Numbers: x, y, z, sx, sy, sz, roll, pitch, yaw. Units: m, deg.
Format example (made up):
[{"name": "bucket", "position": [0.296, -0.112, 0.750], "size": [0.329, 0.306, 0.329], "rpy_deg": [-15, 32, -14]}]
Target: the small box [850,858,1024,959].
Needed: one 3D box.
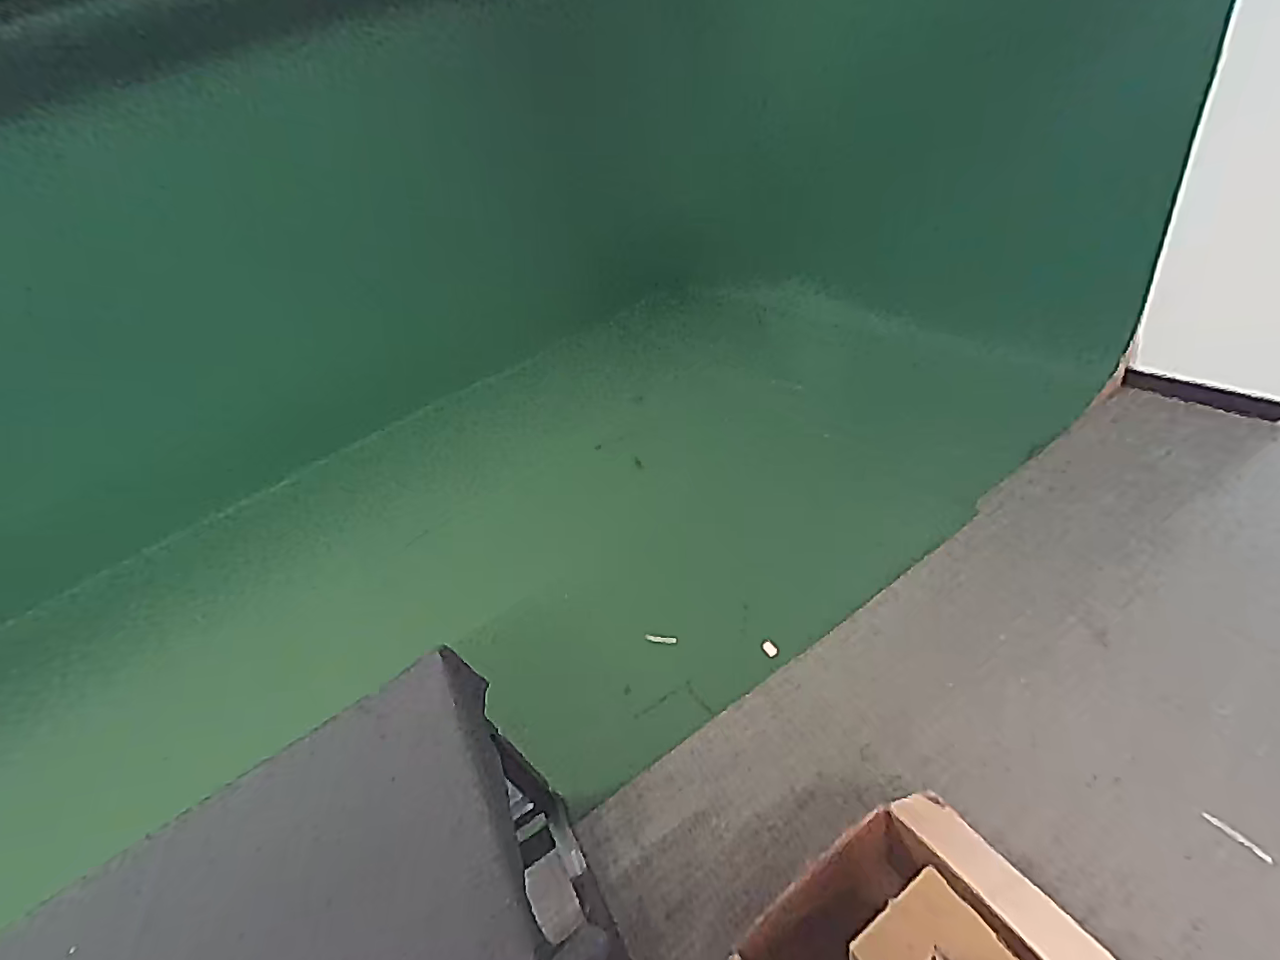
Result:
[{"name": "small box", "position": [0.430, 0.715, 0.797], "size": [0.179, 0.176, 0.168], "rpy_deg": [-30, 40, -15]}]
